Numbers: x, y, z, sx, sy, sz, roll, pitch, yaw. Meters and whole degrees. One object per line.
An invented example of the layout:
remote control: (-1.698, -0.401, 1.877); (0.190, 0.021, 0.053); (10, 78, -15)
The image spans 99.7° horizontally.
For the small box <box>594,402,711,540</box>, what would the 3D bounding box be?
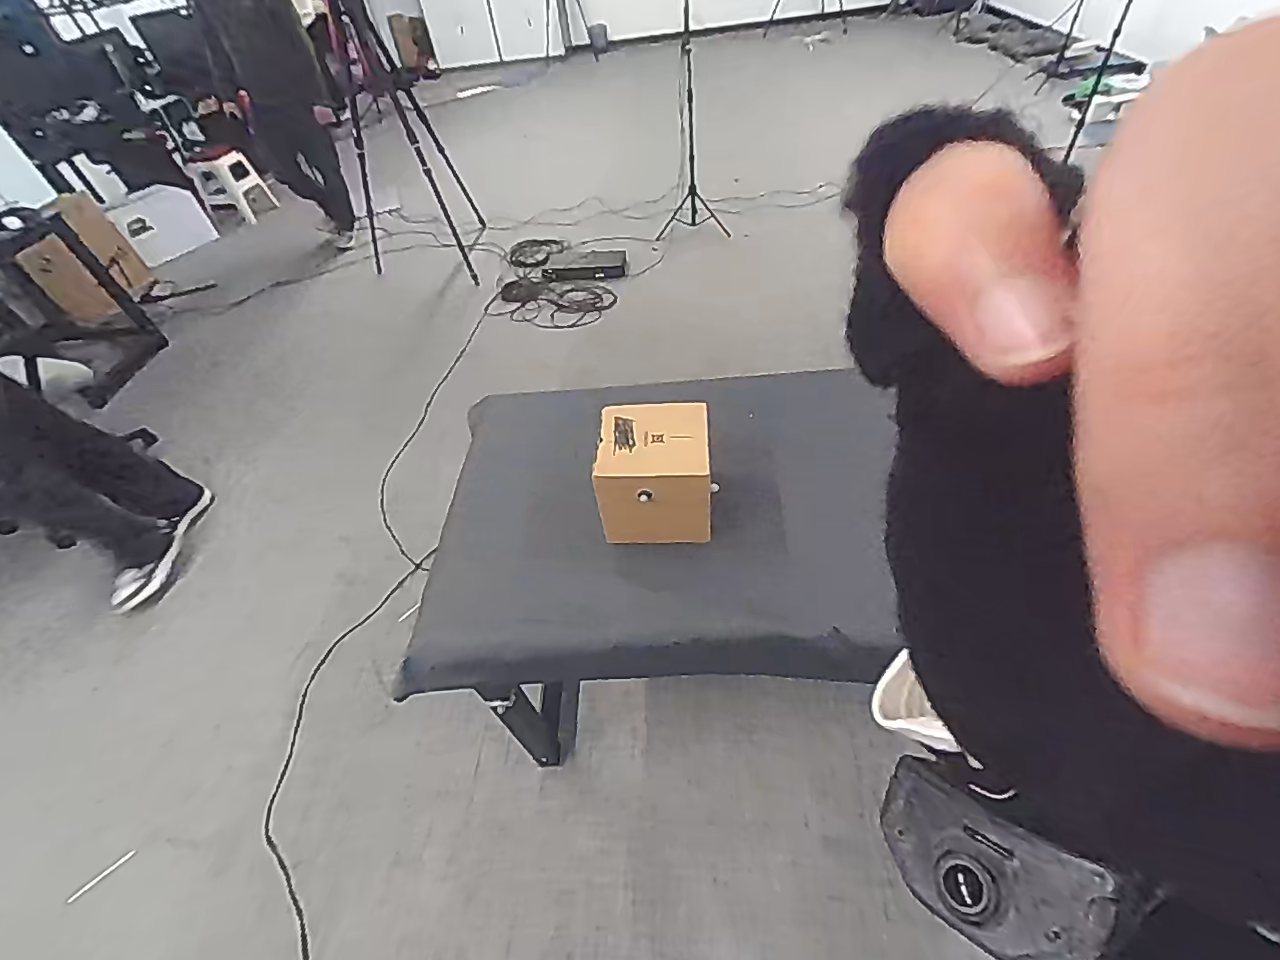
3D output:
small box: (0.029, -0.012, 0.907); (0.179, 0.176, 0.168); (-1, 48, 6)
